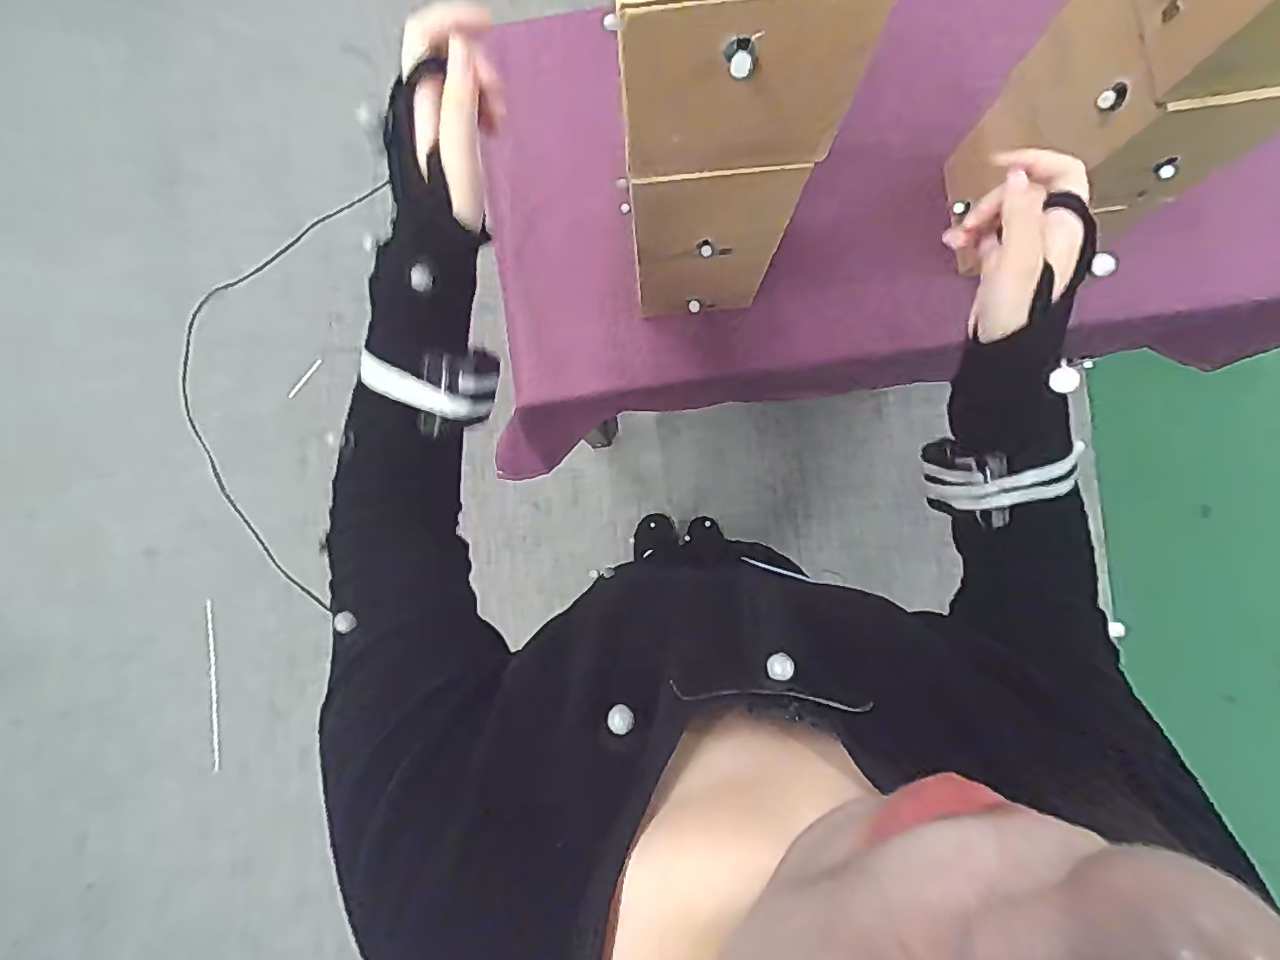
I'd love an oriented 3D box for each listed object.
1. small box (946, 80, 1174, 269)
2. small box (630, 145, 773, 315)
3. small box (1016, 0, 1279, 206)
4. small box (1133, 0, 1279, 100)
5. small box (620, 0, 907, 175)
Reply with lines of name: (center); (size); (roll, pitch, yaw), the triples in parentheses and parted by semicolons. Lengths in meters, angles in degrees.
small box: (0.538, -0.397, 0.718); (0.168, 0.176, 0.179); (-6, 87, 1)
small box: (0.075, -0.342, 0.732); (0.168, 0.176, 0.179); (-5, 88, 2)
small box: (0.528, -0.406, 0.553); (0.168, 0.176, 0.179); (-7, 86, 1)
small box: (0.517, -0.420, 0.391); (0.179, 0.176, 0.168); (-7, 85, 3)
small box: (0.073, -0.359, 0.405); (0.179, 0.176, 0.168); (-4, 87, 3)
